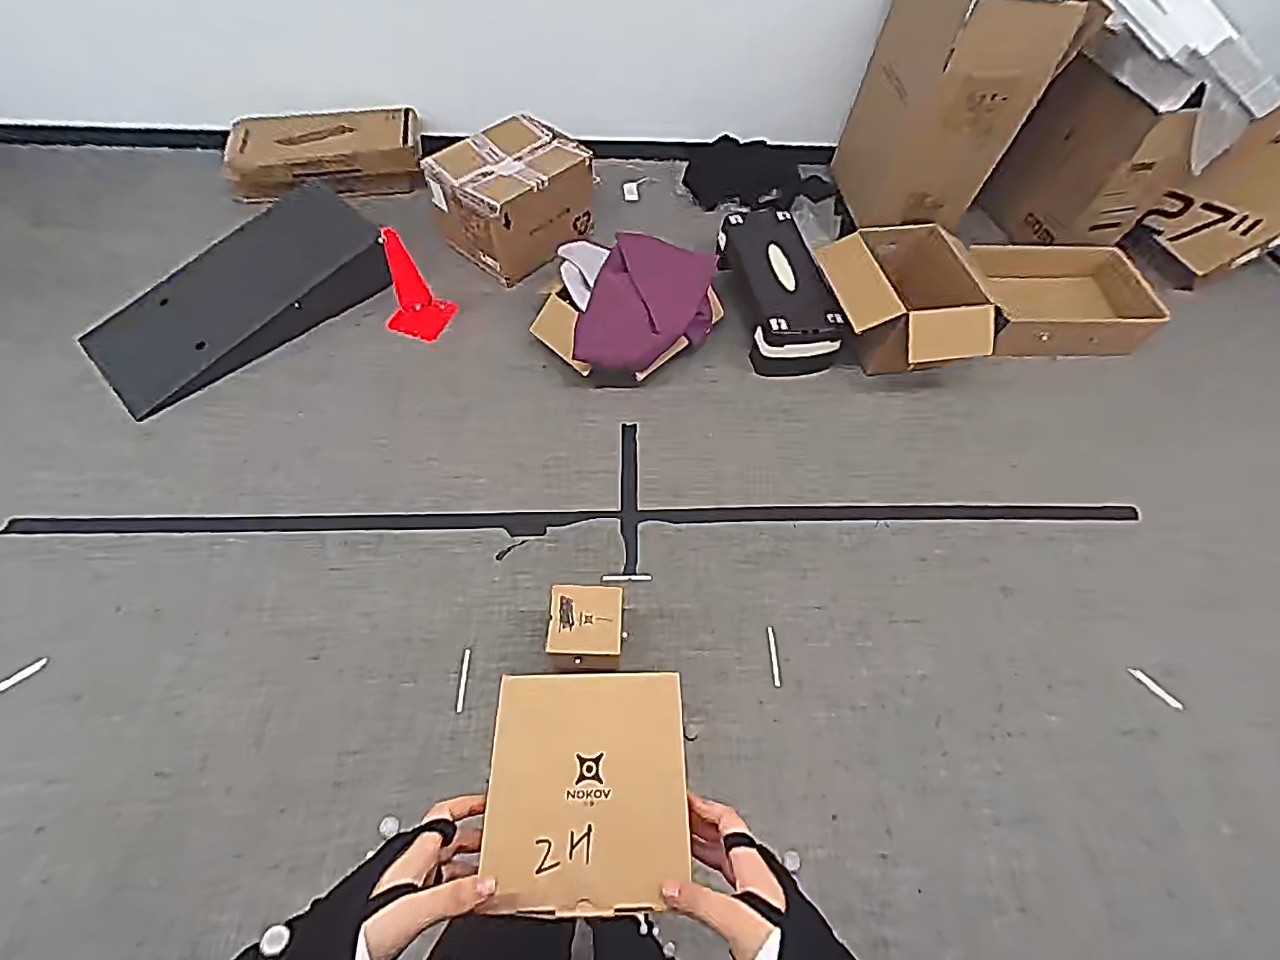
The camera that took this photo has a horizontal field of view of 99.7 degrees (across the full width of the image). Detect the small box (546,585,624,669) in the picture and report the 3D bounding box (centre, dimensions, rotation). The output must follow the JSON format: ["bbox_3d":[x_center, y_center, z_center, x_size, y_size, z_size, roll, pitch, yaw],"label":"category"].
[{"bbox_3d":[-0.133,0.372,1.357,0.179,0.176,0.168,3,60,-2],"label":"small box"}]

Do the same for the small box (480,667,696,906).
[{"bbox_3d":[-0.040,0.291,0.517,0.168,0.176,0.179,-1,56,-1],"label":"small box"}]
